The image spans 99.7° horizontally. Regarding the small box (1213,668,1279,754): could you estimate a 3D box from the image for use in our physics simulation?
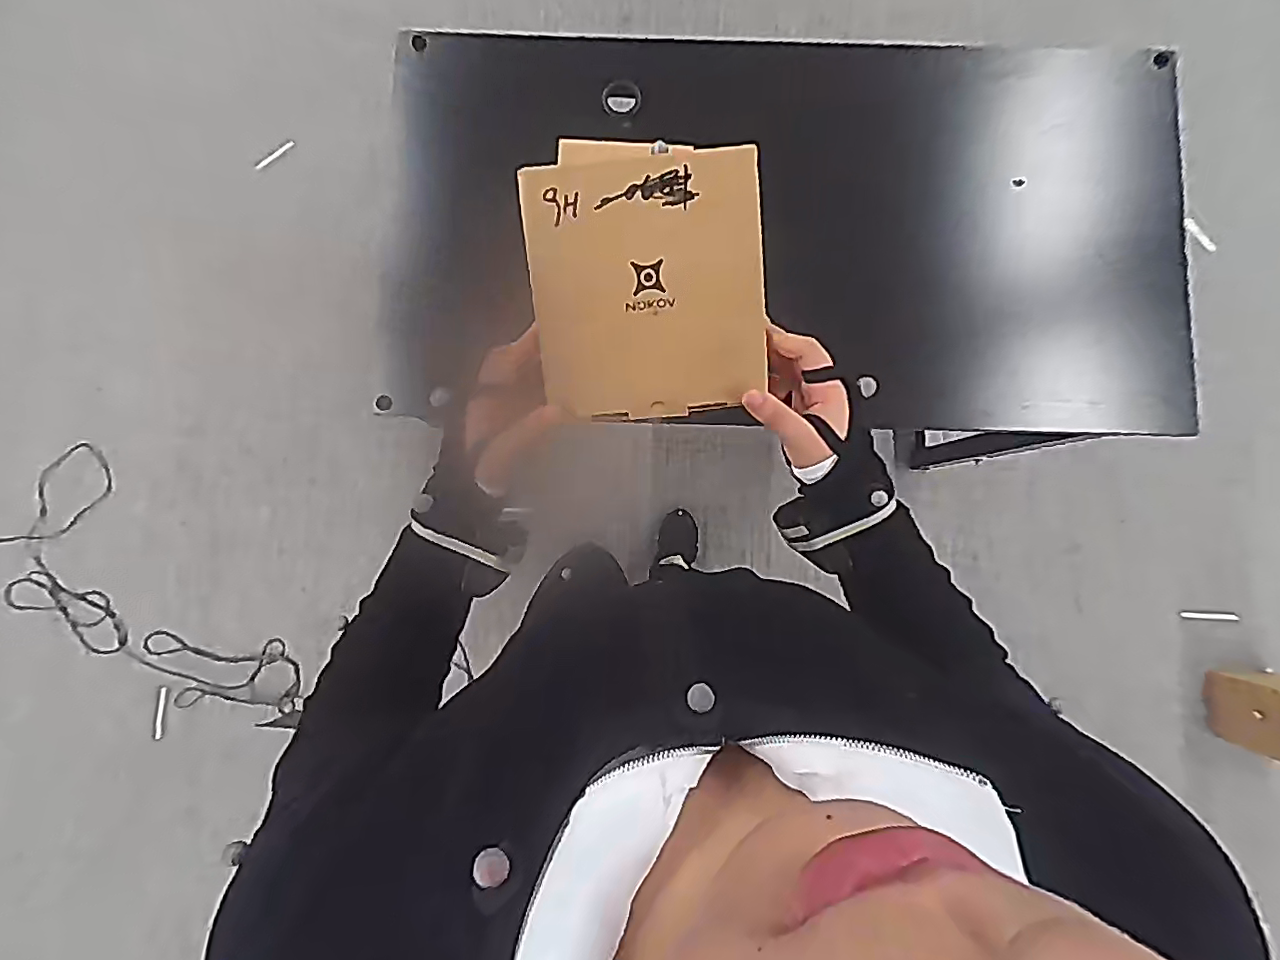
[{"bbox_3d":[1.624,0.587,1.377,0.168,0.176,0.179,0,86,1],"label":"small box"}]

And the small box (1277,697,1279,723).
[{"bbox_3d":[1.619,0.579,1.214,0.179,0.176,0.168,-2,84,2],"label":"small box"}]

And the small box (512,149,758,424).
[{"bbox_3d":[0.002,-0.151,0.463,0.168,0.176,0.179,-6,103,1],"label":"small box"}]

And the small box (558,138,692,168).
[{"bbox_3d":[-0.023,-0.320,0.732,0.168,0.176,0.179,3,85,1],"label":"small box"}]
